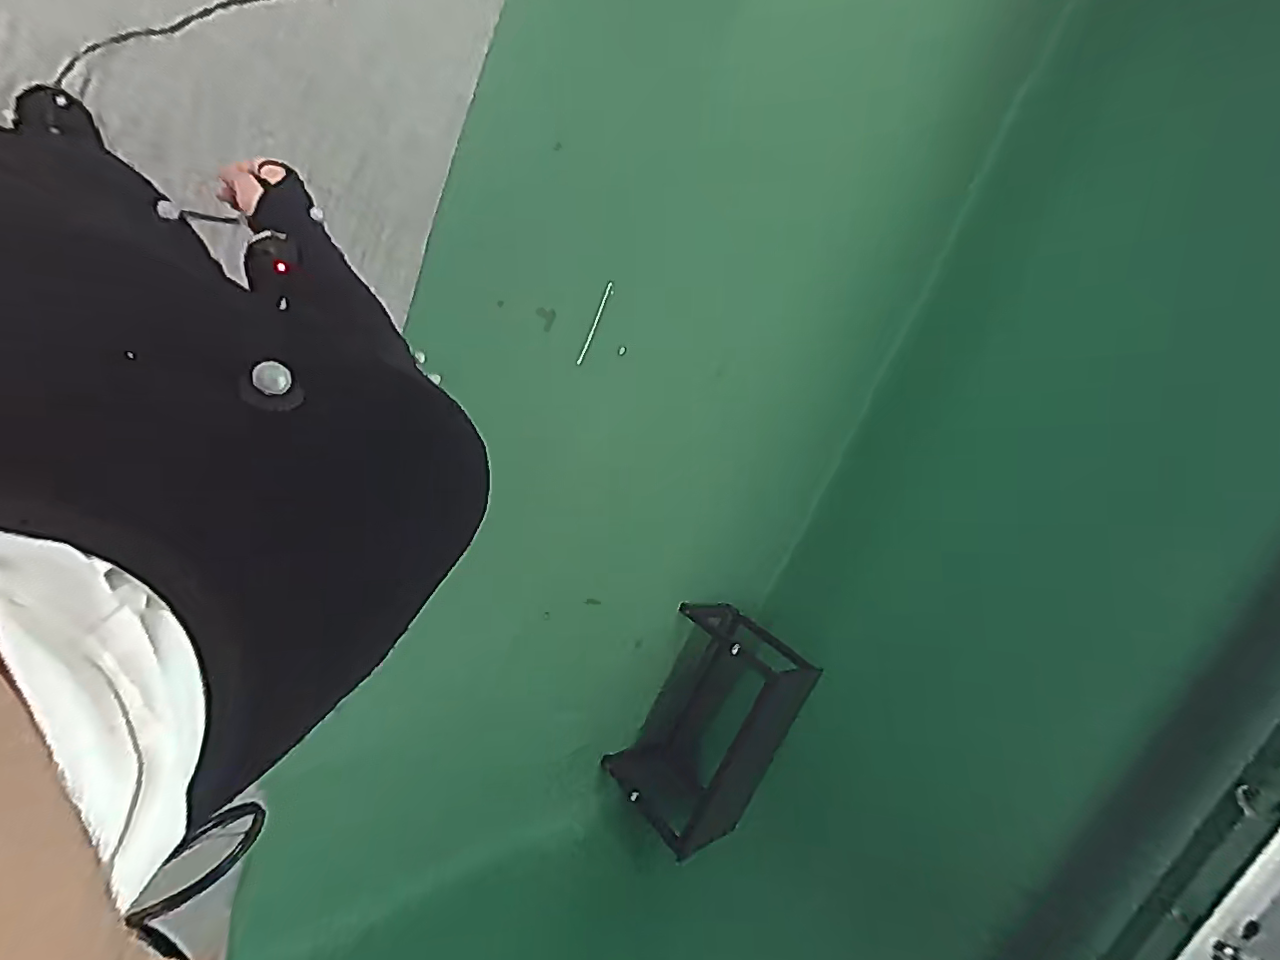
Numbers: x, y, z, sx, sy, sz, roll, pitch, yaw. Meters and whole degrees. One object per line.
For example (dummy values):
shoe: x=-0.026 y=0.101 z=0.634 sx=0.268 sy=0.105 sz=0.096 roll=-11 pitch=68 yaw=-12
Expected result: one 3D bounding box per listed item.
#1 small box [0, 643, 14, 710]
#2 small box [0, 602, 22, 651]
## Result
small box: x=-1.354 y=0.425 z=1.030 sx=0.179 sy=0.176 sz=0.168 roll=22 pitch=98 yaw=-50
small box: x=-1.463 y=0.364 z=1.139 sx=0.179 sy=0.176 sz=0.168 roll=23 pitch=97 yaw=-50
